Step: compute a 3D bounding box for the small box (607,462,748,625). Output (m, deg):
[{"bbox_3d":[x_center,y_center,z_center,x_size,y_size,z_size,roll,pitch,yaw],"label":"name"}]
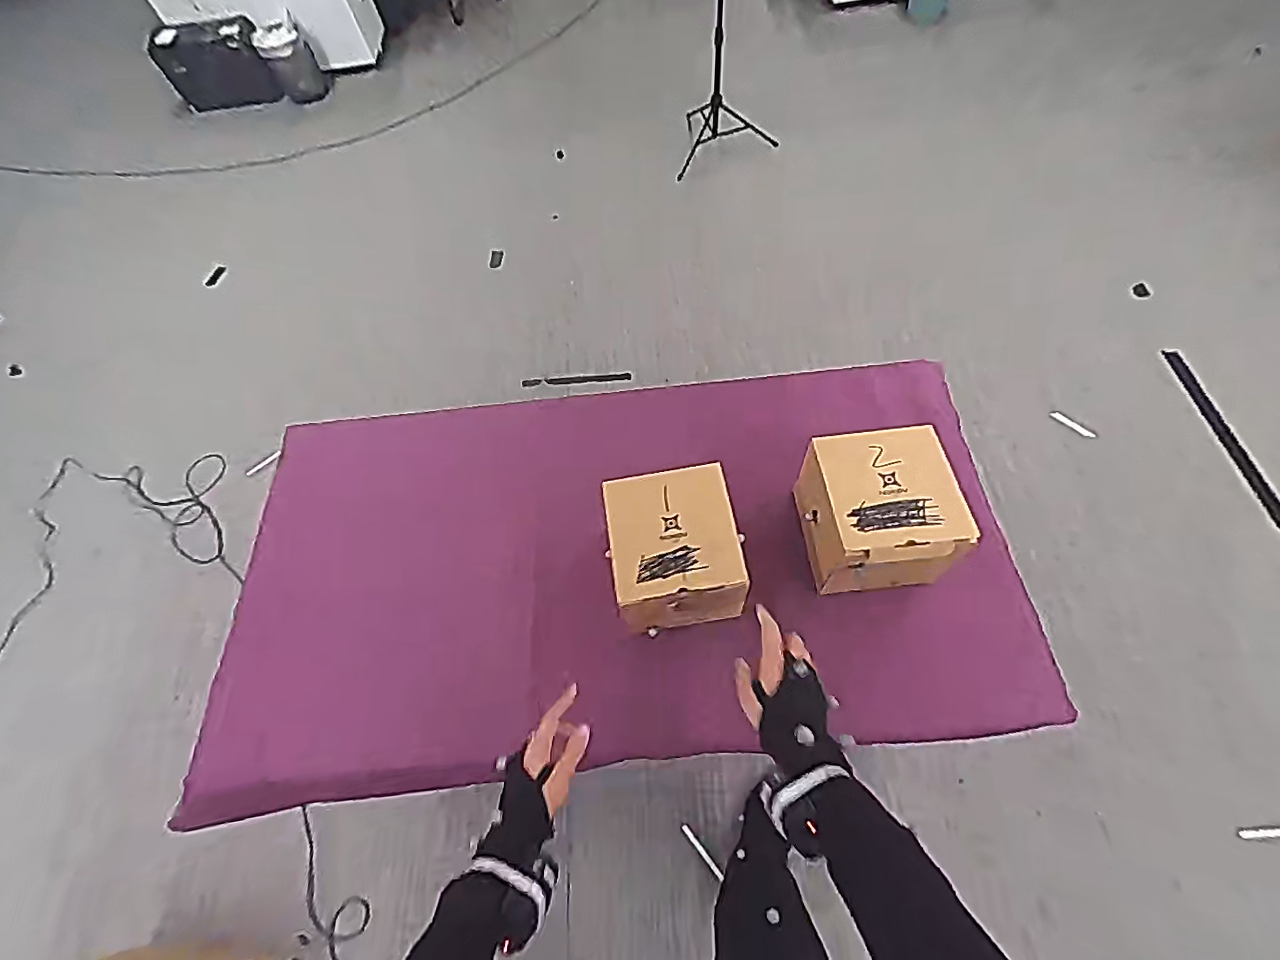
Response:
[{"bbox_3d":[0.052,0.100,0.774,0.168,0.176,0.179,-9,61,1],"label":"small box"}]
